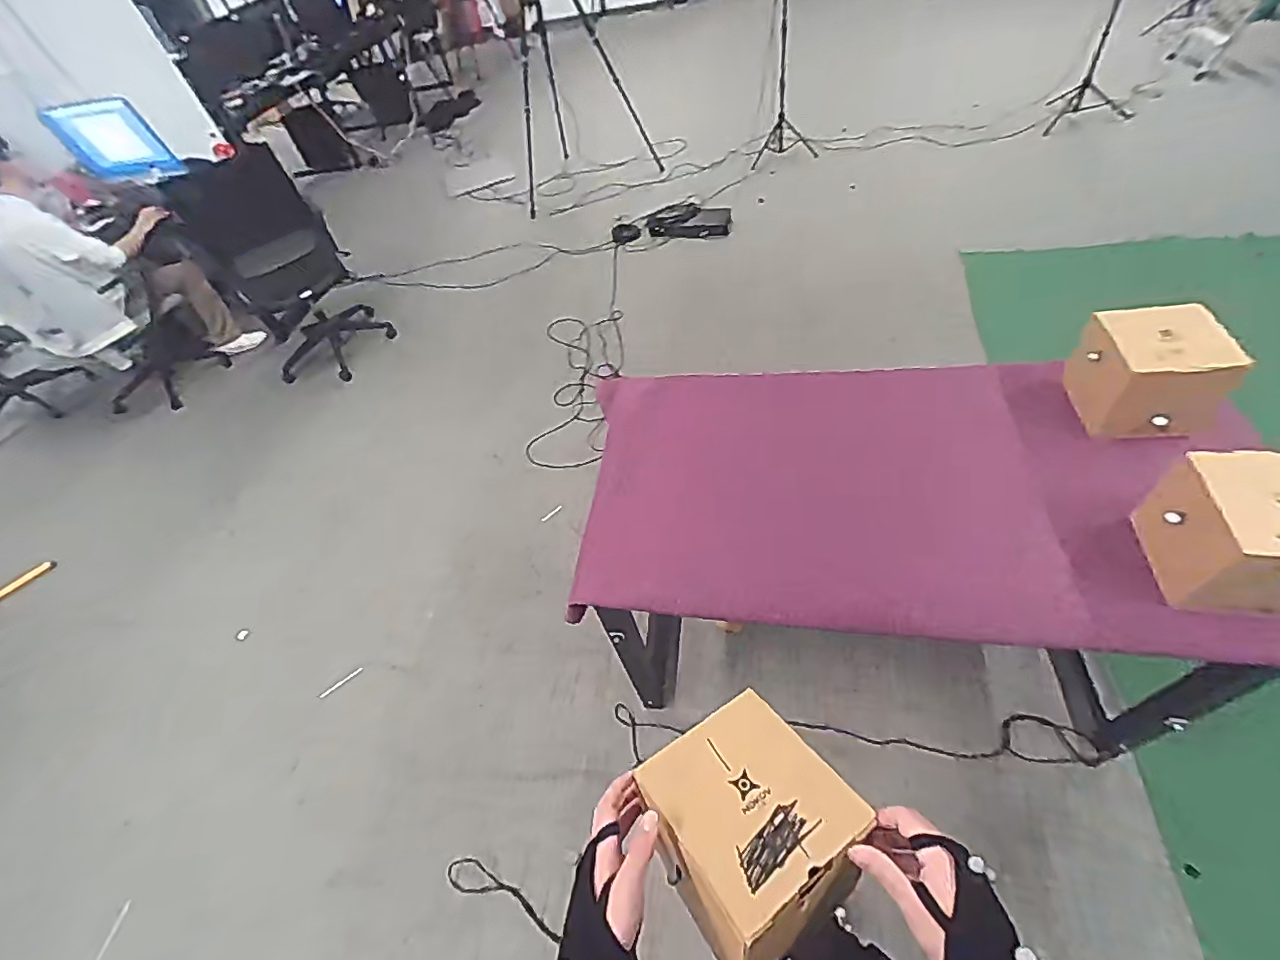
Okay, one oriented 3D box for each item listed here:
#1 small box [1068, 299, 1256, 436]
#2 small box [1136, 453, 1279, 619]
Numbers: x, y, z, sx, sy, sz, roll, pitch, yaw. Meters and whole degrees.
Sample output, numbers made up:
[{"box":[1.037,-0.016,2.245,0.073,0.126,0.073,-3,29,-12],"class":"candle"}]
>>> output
[{"box":[0.926,-0.201,0.986,0.168,0.176,0.179,-2,52,15],"class":"small box"},{"box":[0.869,0.079,0.774,0.168,0.176,0.179,0,52,16],"class":"small box"}]
